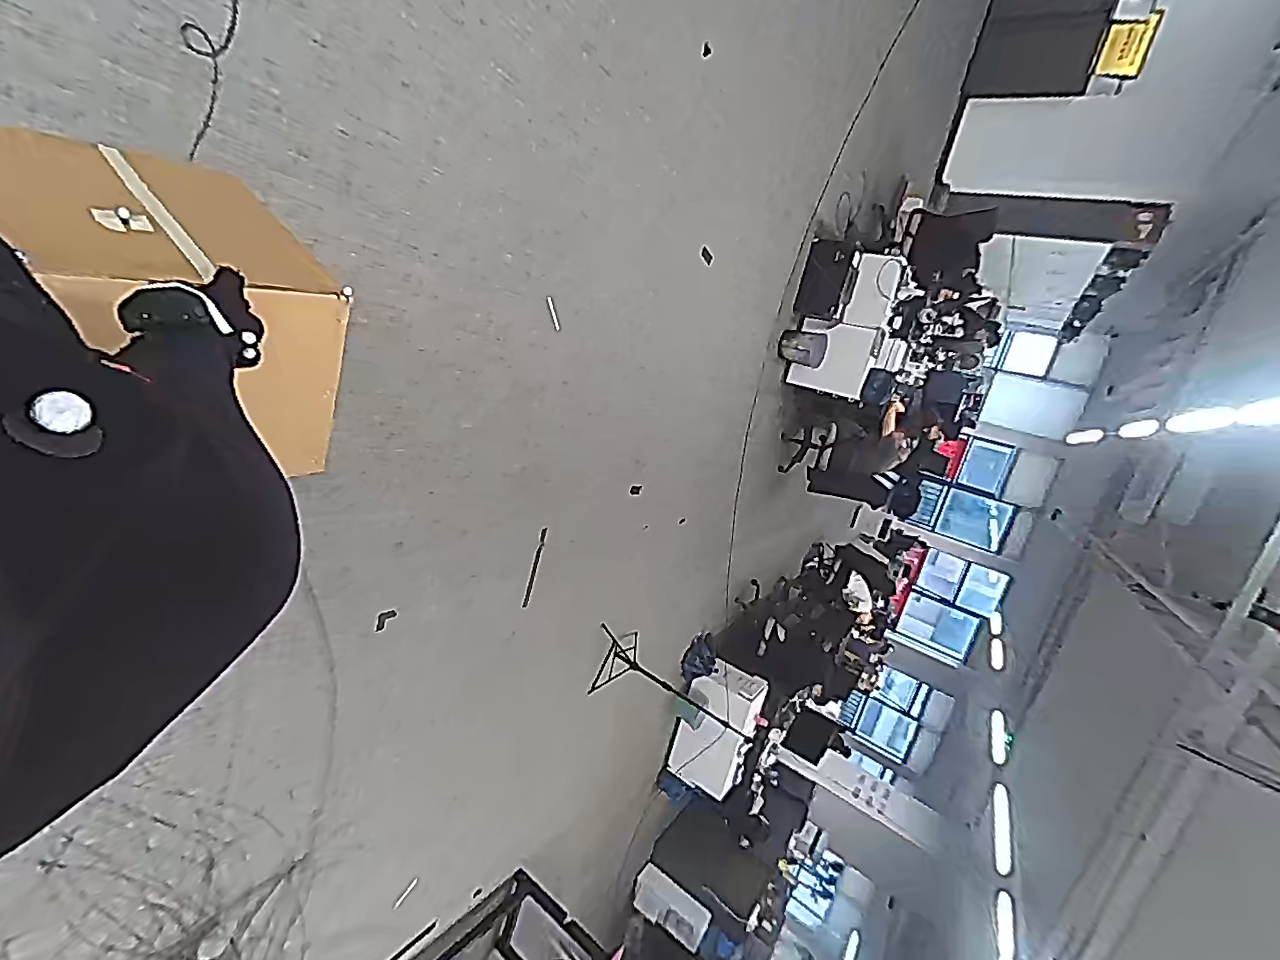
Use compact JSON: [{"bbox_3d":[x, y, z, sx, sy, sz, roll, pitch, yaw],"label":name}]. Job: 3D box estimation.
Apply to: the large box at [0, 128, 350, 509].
[{"bbox_3d":[-0.689,-0.225,0.773,0.320,0.408,0.320,-19,146,-50],"label":"large box"}]
